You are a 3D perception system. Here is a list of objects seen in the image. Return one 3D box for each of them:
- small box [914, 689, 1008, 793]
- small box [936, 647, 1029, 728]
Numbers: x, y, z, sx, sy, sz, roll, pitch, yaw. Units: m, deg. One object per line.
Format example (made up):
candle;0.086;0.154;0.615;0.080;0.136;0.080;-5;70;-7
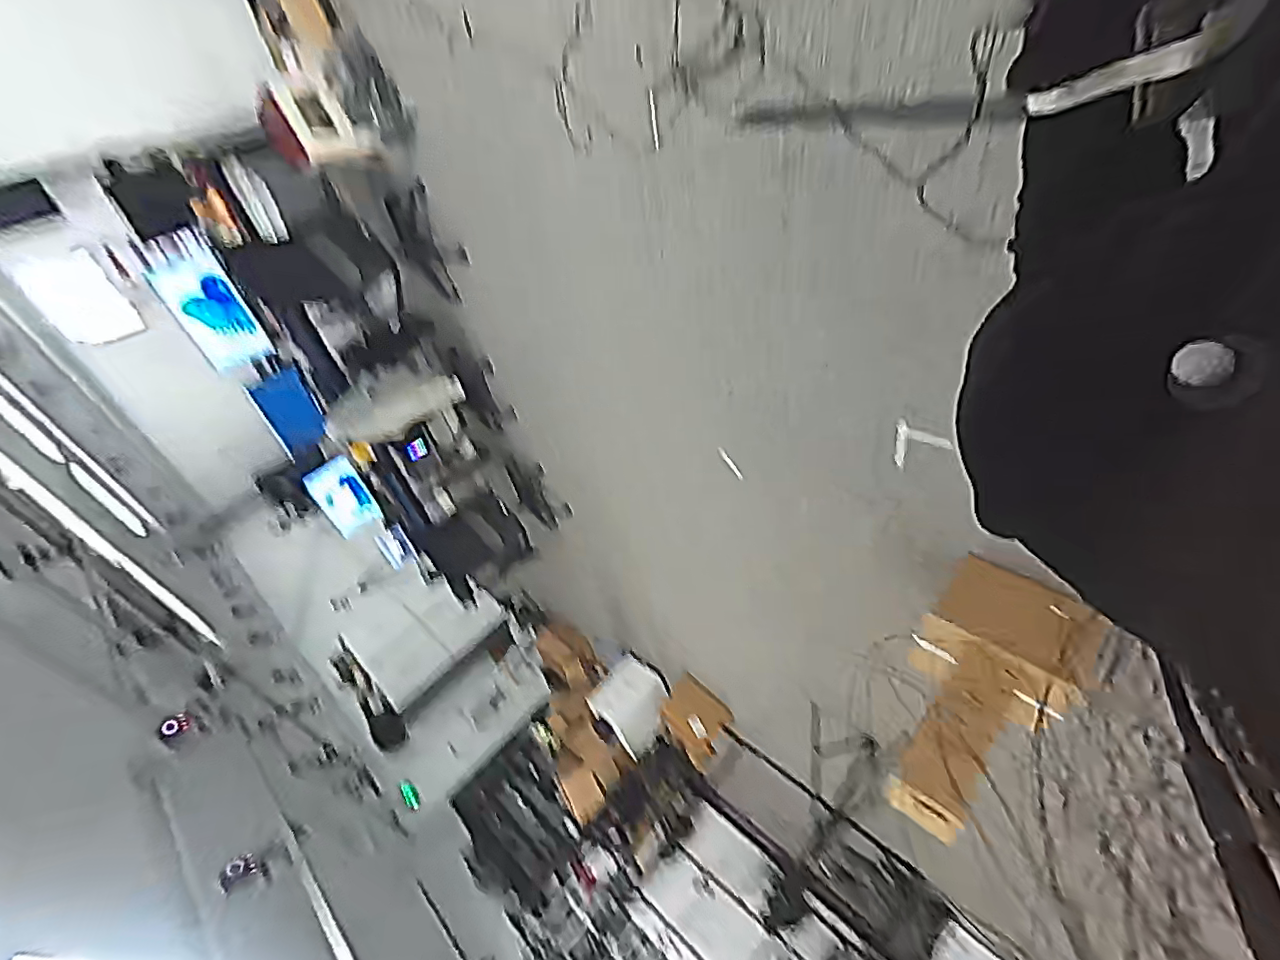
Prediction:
small box;0.906;0.730;1.526;0.168;0.176;0.179;28;143;34
small box;1.014;0.630;1.598;0.168;0.176;0.179;30;146;32
